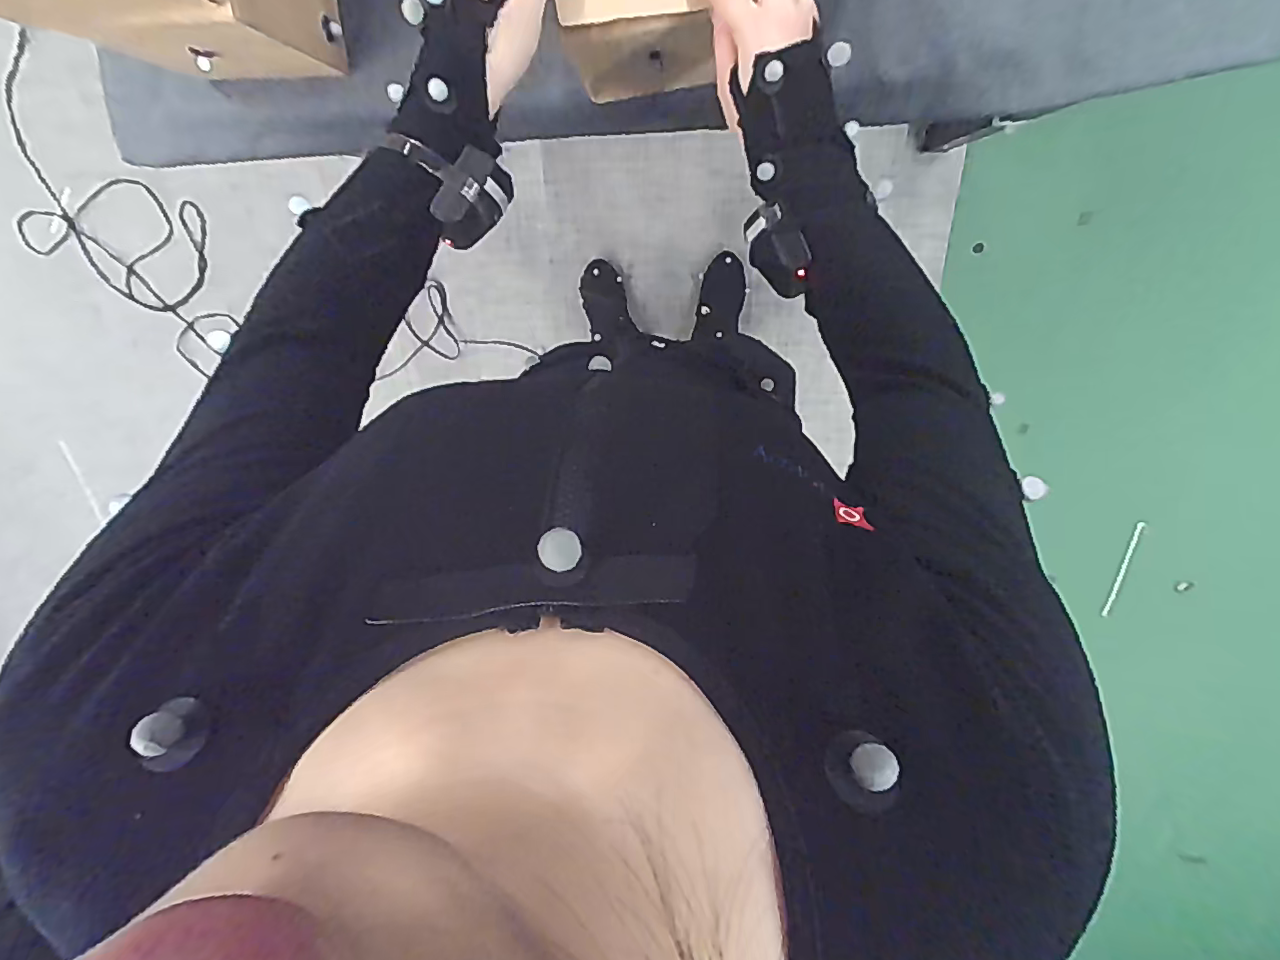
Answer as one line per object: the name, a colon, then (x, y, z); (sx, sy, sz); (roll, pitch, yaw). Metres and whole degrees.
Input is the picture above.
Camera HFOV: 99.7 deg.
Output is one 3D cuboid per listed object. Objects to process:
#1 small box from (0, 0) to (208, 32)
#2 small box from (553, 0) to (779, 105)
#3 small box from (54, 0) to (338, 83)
small box: (-0.436, -0.421, 0.345); (0.179, 0.176, 0.168); (-3, 113, 6)
small box: (0.020, -0.453, 0.469); (0.179, 0.176, 0.168); (-5, 111, 8)
small box: (-0.407, -0.484, 0.493); (0.179, 0.176, 0.168); (2, 114, 5)
